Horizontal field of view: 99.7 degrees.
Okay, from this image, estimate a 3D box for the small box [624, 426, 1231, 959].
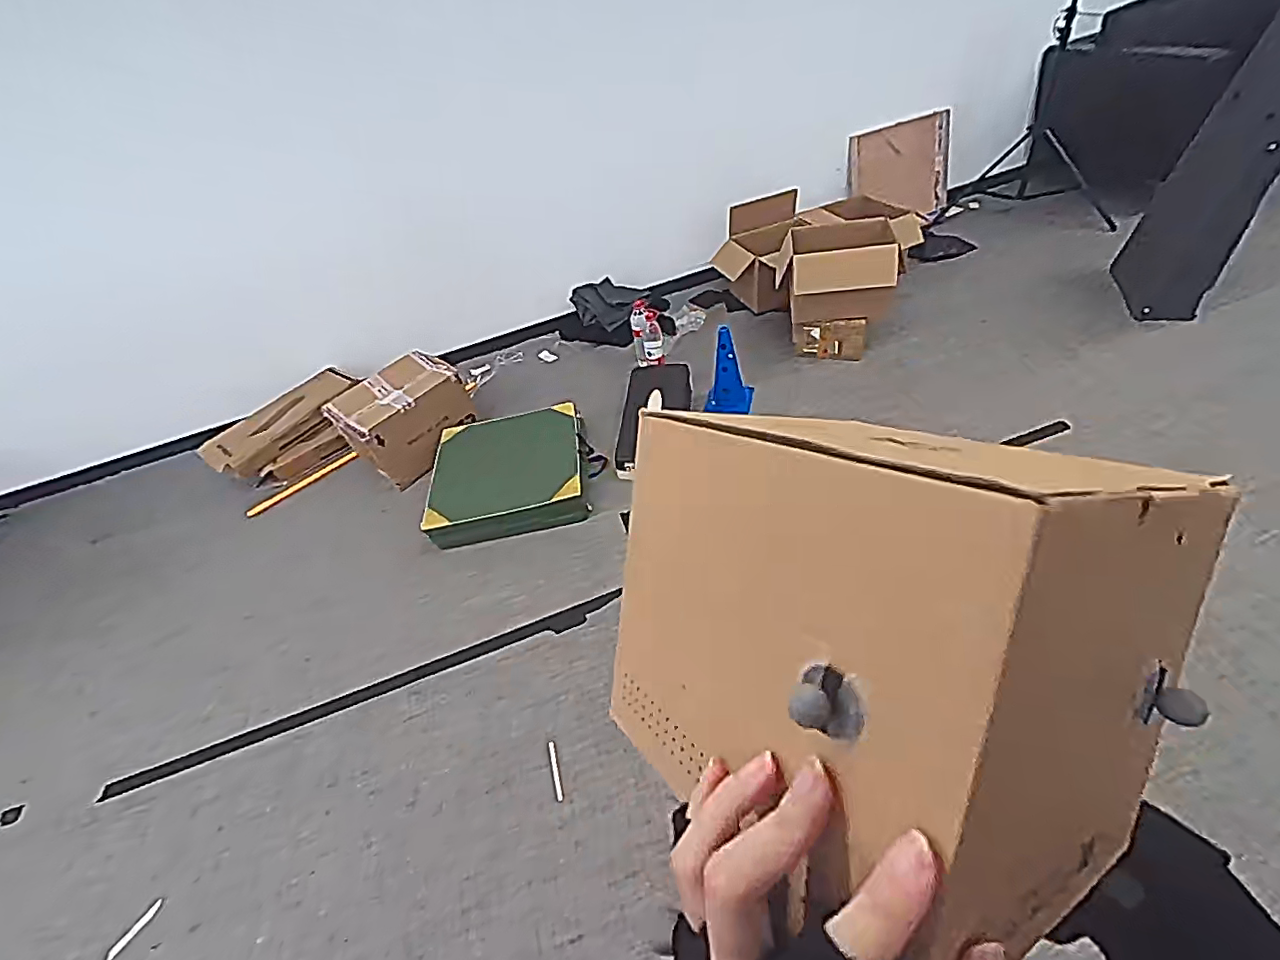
[{"bbox_3d":[0.108,0.072,0.252,0.168,0.176,0.179,0,12,-33],"label":"small box"}]
